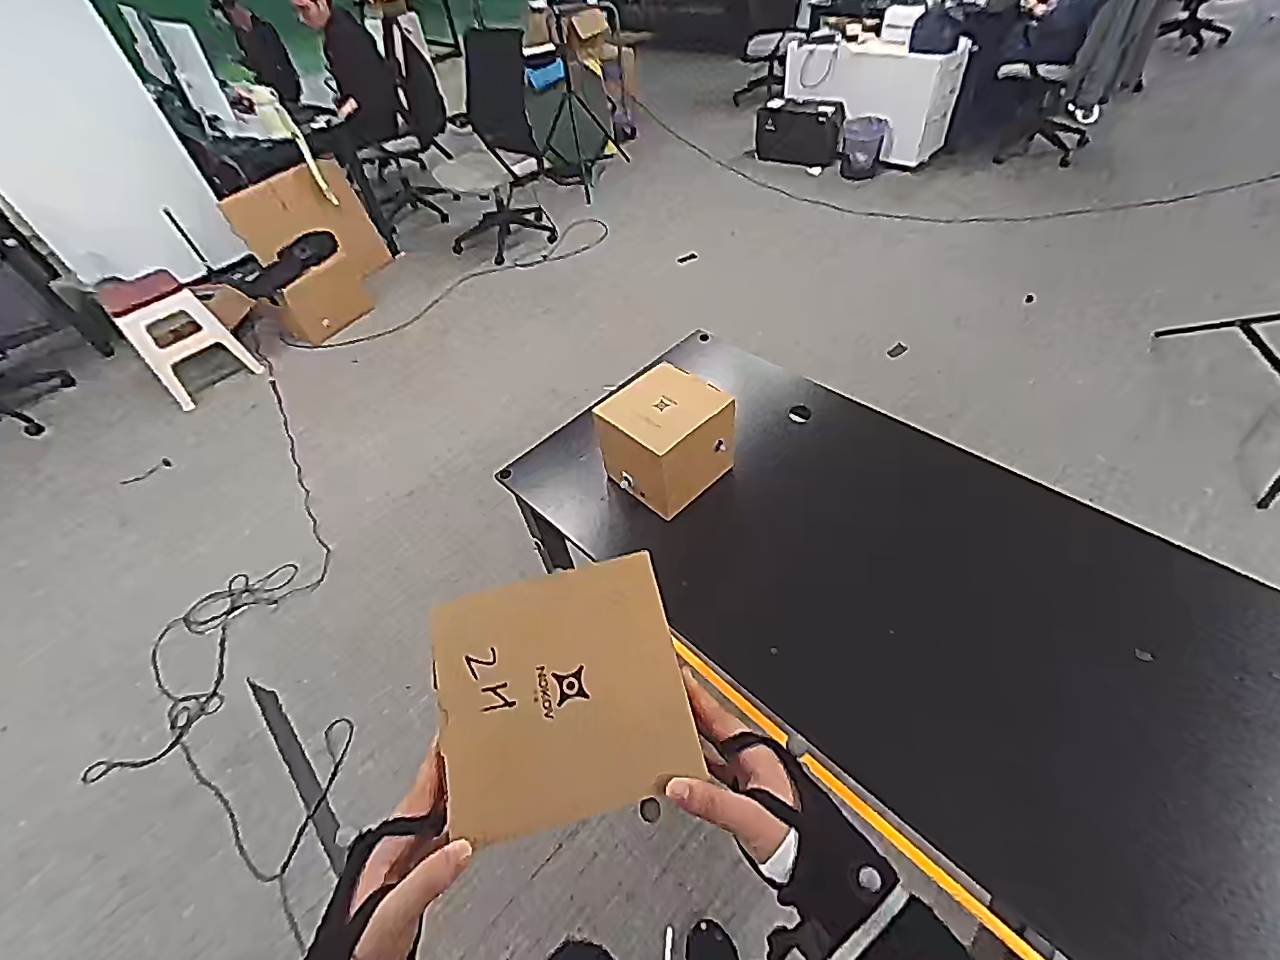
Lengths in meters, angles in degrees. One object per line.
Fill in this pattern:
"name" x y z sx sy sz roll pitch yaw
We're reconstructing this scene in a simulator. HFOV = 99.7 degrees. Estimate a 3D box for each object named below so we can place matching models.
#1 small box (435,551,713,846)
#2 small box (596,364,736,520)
"small box" -0.051 0.177 0.458 0.179 0.176 0.168 -14 66 -4
"small box" 0.048 -0.067 0.946 0.179 0.176 0.168 -39 55 -23
